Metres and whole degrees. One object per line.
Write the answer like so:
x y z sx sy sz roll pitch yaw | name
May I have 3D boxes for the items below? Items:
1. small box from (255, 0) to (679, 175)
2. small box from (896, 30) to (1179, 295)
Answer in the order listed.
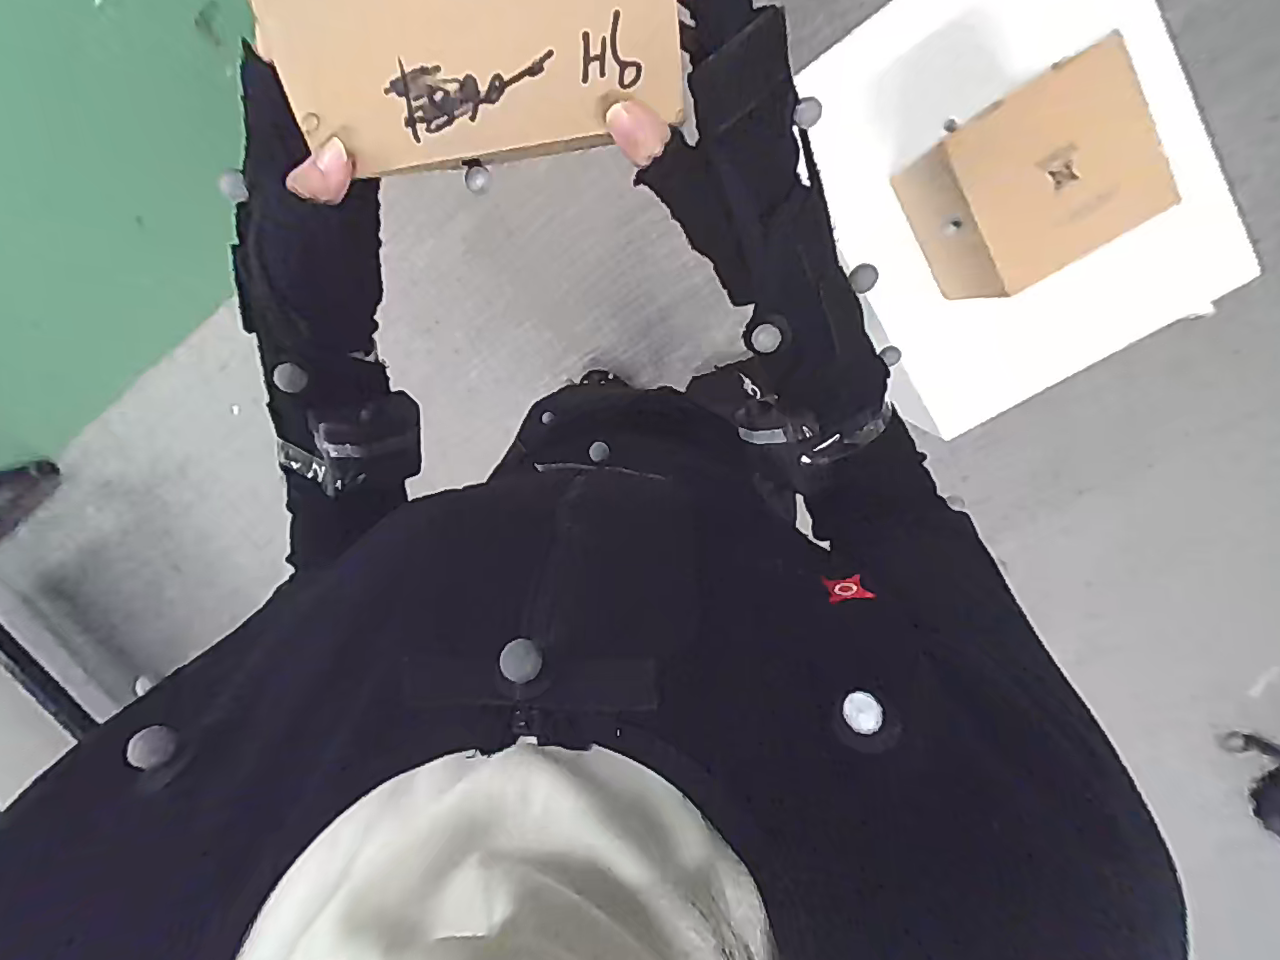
-0.078 -0.265 0.267 0.168 0.176 0.179 -9 120 7 | small box
0.416 -0.323 0.600 0.168 0.176 0.179 -29 102 16 | small box
